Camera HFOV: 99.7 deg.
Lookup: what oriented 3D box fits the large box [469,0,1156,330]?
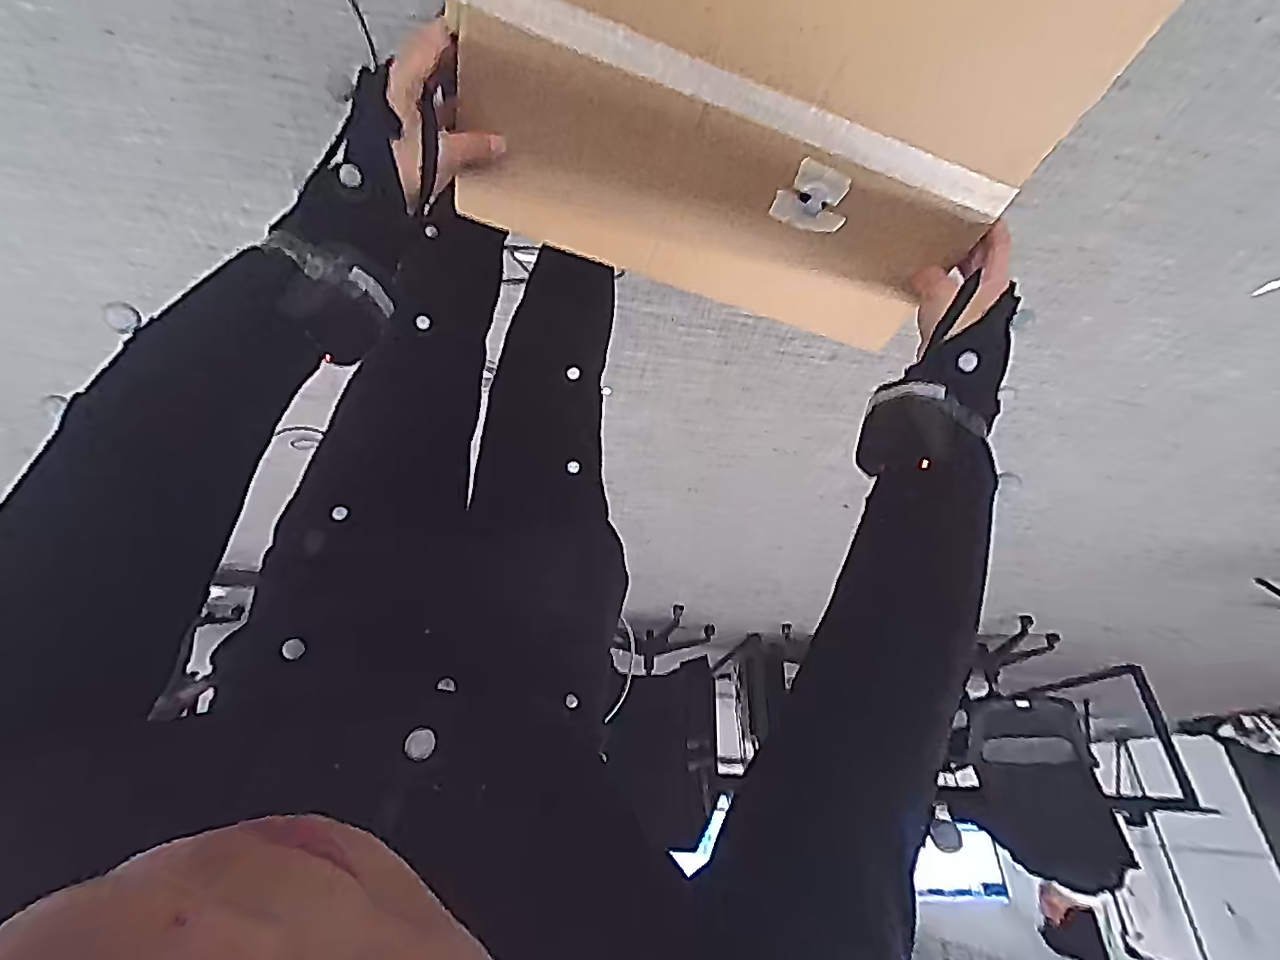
[{"bbox_3d":[0.097,-0.392,0.458,0.408,0.320,0.320,14,145,-11],"label":"large box"}]
